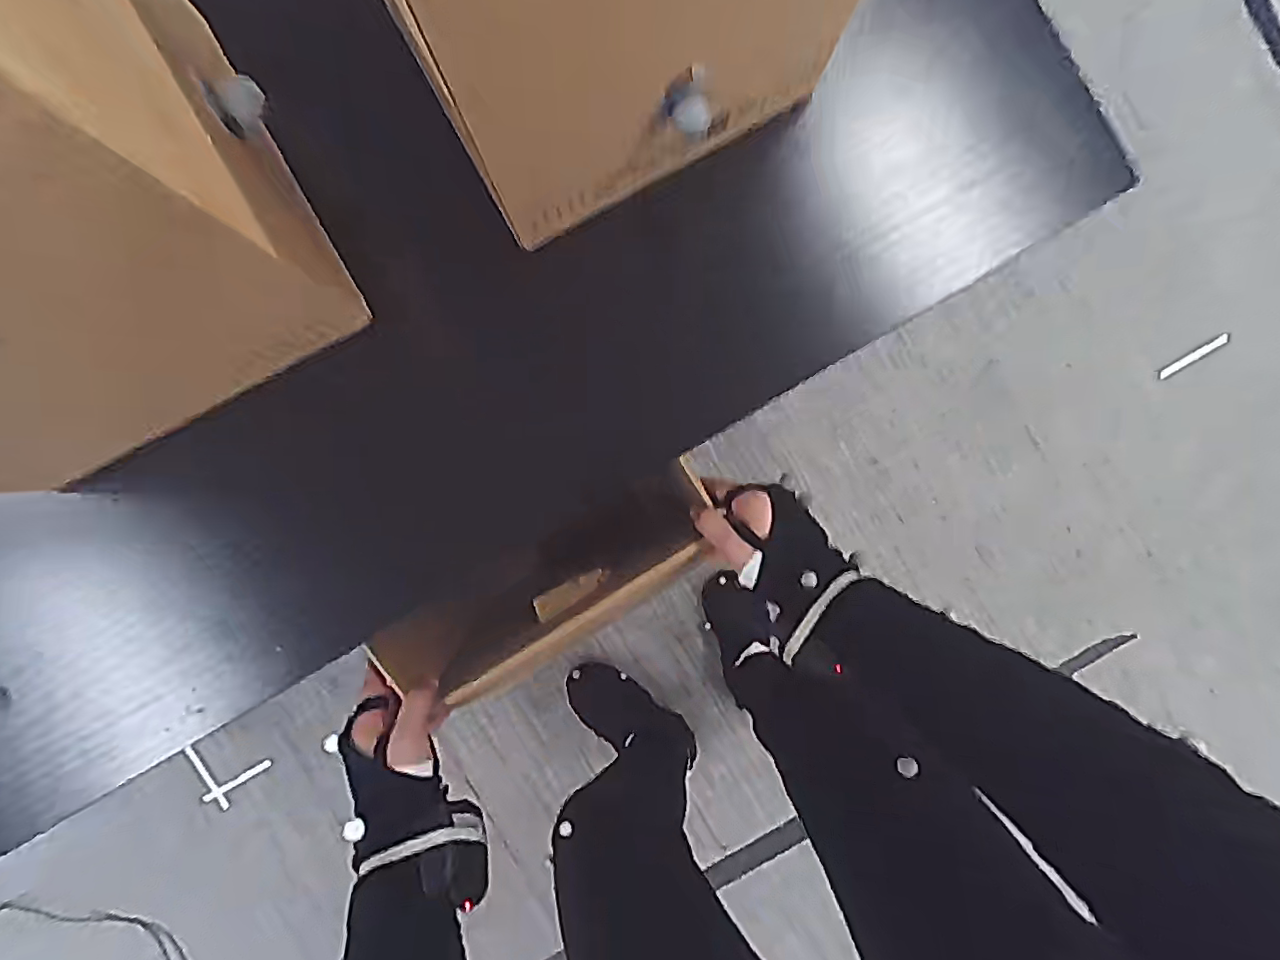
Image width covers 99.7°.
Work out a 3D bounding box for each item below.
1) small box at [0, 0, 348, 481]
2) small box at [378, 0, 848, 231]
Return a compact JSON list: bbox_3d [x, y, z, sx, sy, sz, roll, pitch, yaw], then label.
[{"bbox_3d":[-0.241,-0.105,0.172,0.179,0.176,0.168,-29,92,-2],"label":"small box"},{"bbox_3d":[-0.027,-0.224,0.176,0.168,0.176,0.179,-29,92,-1],"label":"small box"}]
